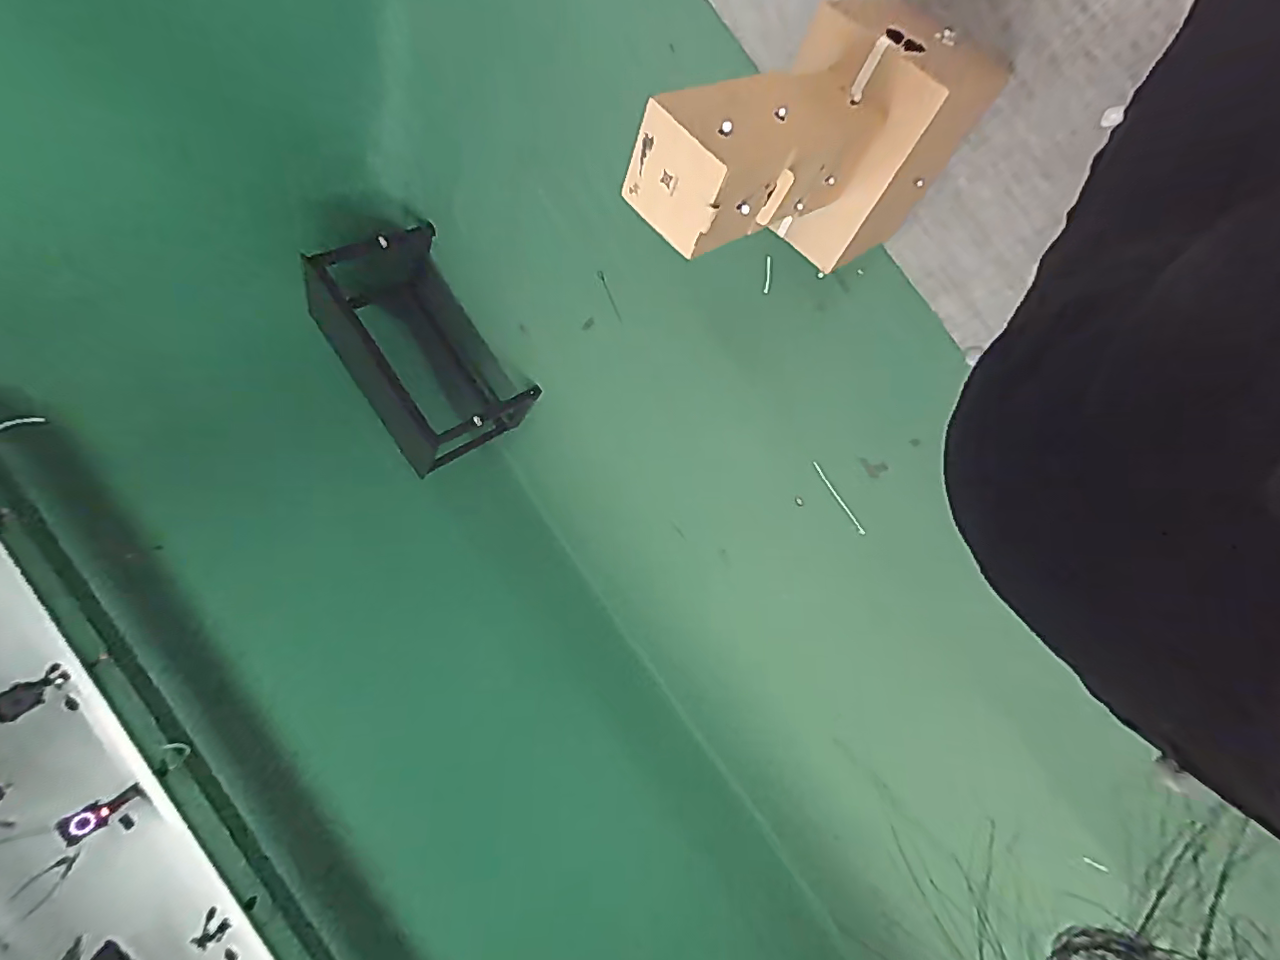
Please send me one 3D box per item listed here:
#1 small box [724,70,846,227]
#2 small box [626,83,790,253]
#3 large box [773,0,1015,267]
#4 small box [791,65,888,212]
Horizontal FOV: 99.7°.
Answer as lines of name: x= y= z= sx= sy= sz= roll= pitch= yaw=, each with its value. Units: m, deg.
small box: x=0.230 y=-0.600 z=0.973 sx=0.179 sy=0.176 sz=0.168 roll=49 pitch=149 yaw=9
small box: x=0.111 y=-0.518 z=0.893 sx=0.179 sy=0.176 sz=0.168 roll=47 pitch=148 yaw=9
large box: x=0.512 y=-0.779 z=1.210 sx=0.320 sy=0.320 sz=0.408 roll=48 pitch=150 yaw=14
small box: x=0.345 y=-0.673 z=1.064 sx=0.168 sy=0.176 sz=0.179 roll=48 pitch=148 yaw=10
